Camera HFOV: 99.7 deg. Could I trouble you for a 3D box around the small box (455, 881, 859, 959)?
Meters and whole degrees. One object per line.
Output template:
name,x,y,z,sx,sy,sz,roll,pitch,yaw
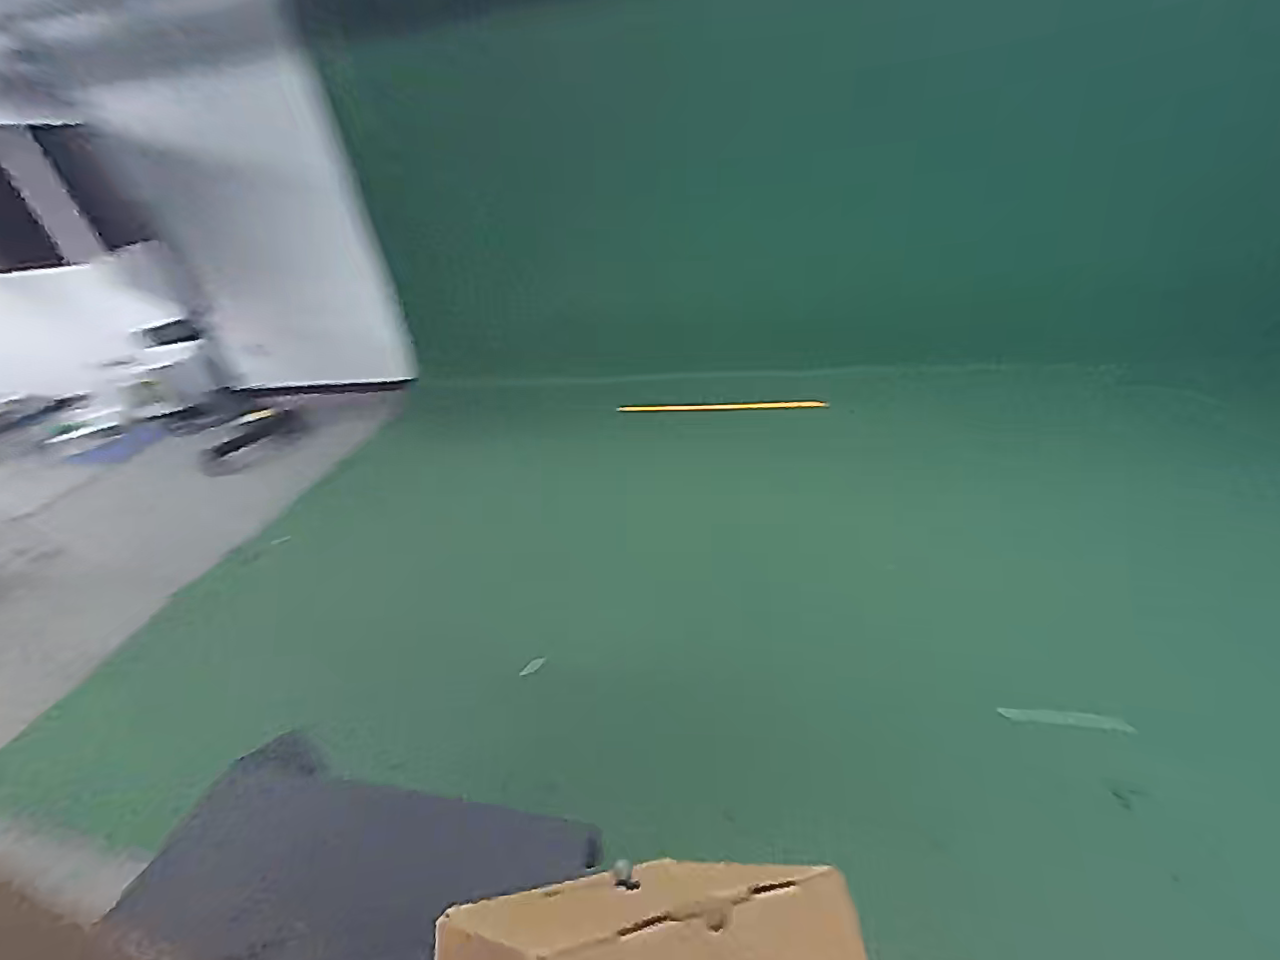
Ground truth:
small box,0.004,0.315,0.262,0.168,0.176,0.179,11,53,-26
